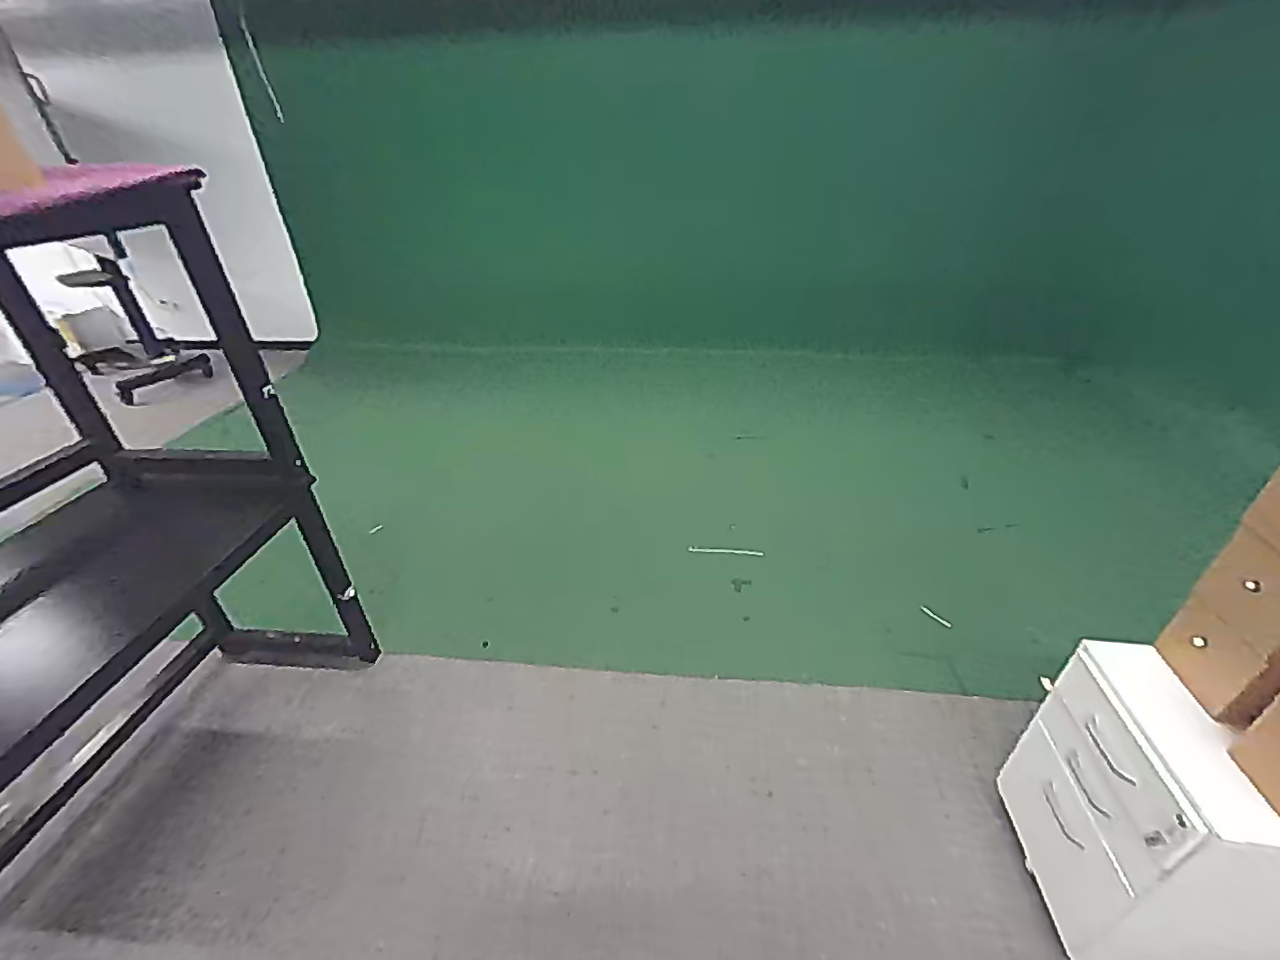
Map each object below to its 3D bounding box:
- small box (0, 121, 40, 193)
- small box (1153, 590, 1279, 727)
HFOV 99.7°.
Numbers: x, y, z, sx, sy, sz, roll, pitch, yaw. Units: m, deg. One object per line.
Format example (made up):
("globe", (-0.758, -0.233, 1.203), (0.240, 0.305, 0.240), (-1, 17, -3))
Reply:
("small box", (-1.121, -0.528, 0.831), (0.168, 0.176, 0.179), (1, 33, 8))
("small box", (1.142, 0.334, 1.019), (0.168, 0.176, 0.179), (3, 35, 6))
